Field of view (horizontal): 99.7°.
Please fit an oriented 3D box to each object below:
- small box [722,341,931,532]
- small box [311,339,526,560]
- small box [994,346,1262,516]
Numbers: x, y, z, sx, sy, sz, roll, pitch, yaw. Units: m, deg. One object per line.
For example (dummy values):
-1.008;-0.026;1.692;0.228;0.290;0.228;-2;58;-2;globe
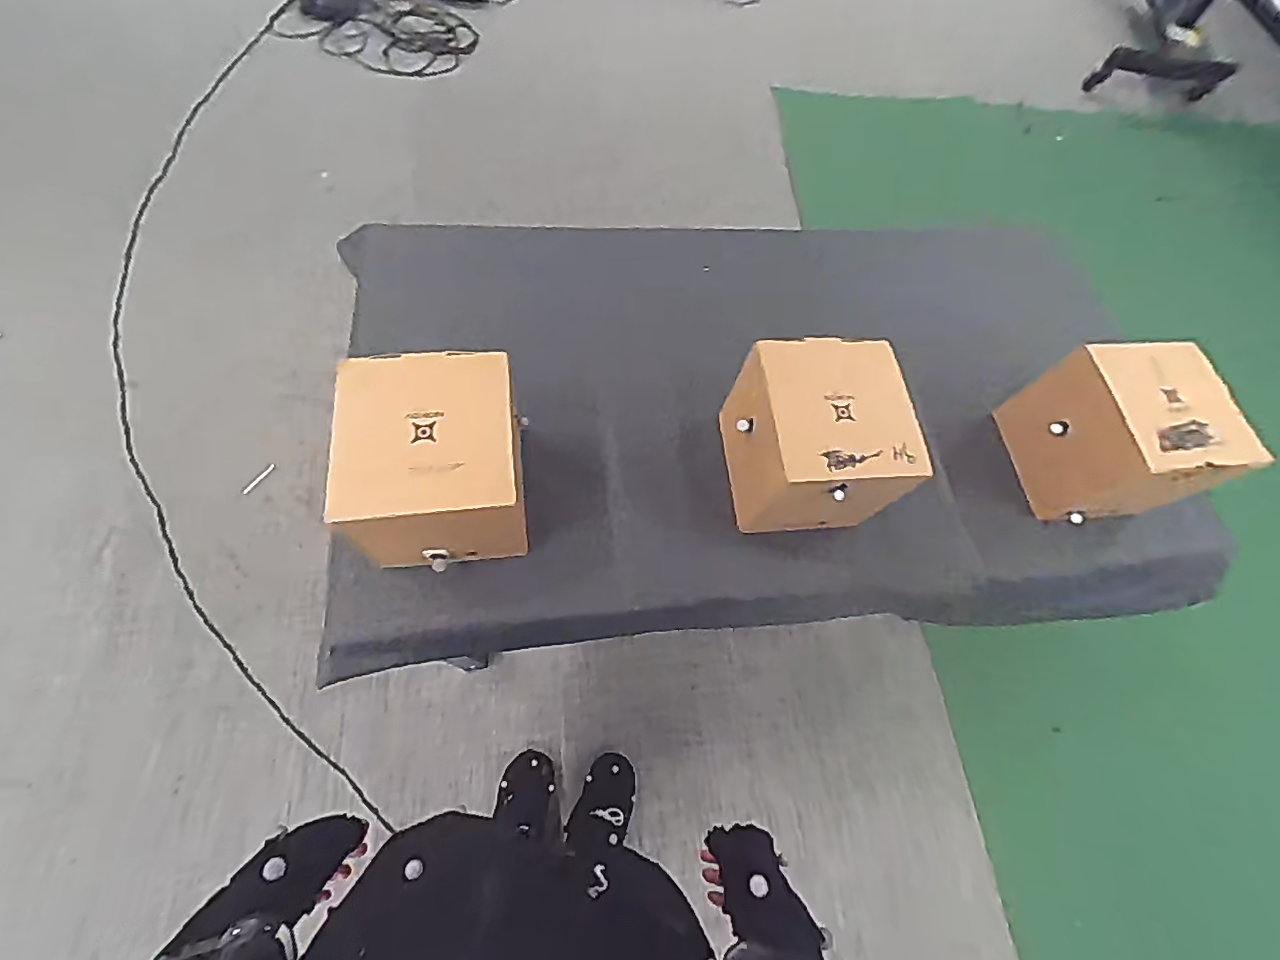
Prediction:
0.208;-0.047;0.660;0.168;0.176;0.179;-2;67;-9;small box
-0.212;-0.026;0.569;0.168;0.176;0.179;-3;67;-7;small box
0.625;-0.056;0.720;0.168;0.176;0.179;-3;66;-9;small box
